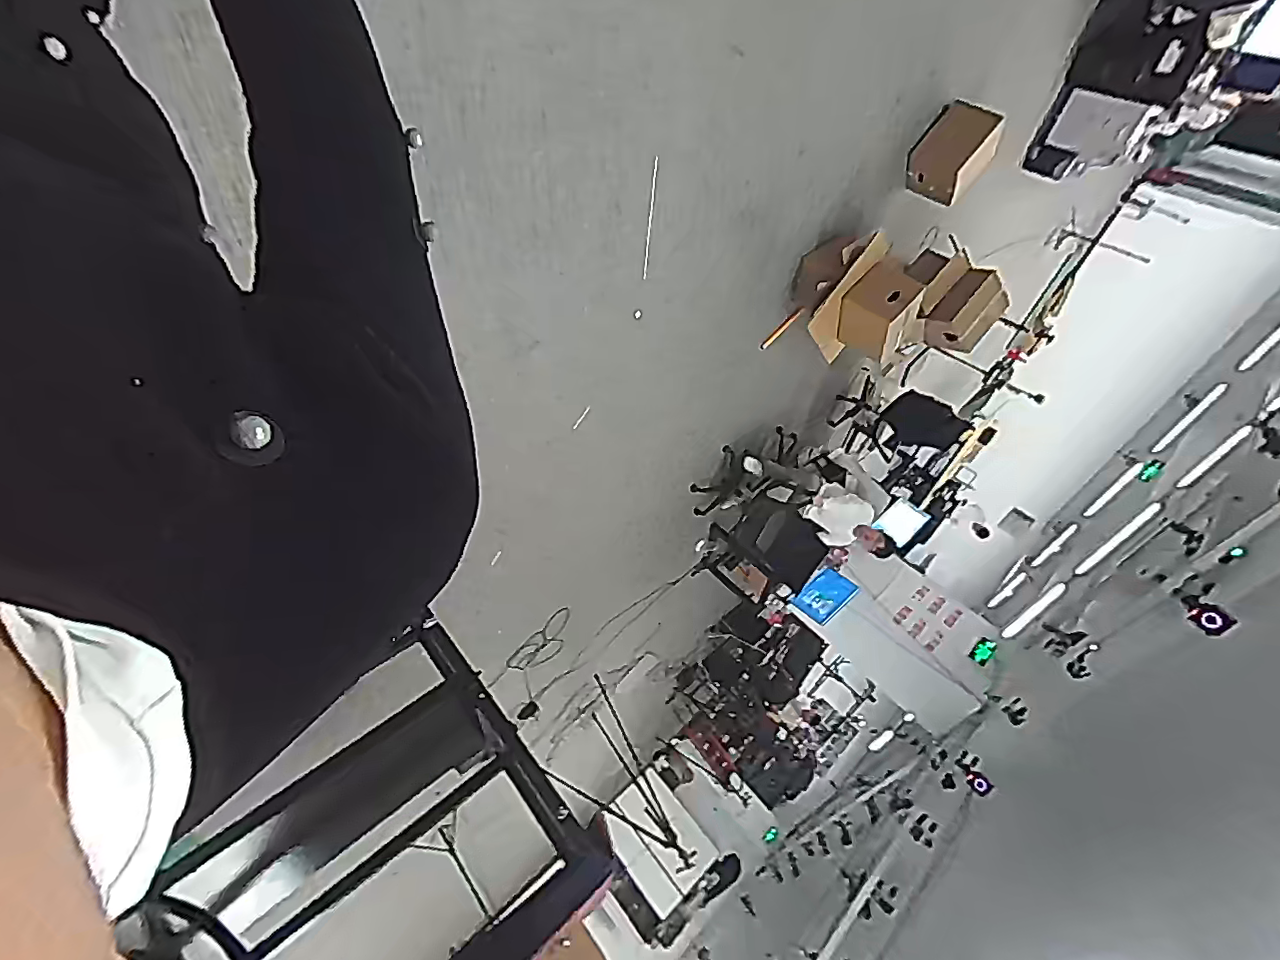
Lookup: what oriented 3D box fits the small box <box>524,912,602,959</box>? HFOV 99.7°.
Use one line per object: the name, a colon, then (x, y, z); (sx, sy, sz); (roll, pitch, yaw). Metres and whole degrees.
small box: (-0.207, 1.346, 1.500); (0.168, 0.176, 0.179); (-32, 148, -30)
